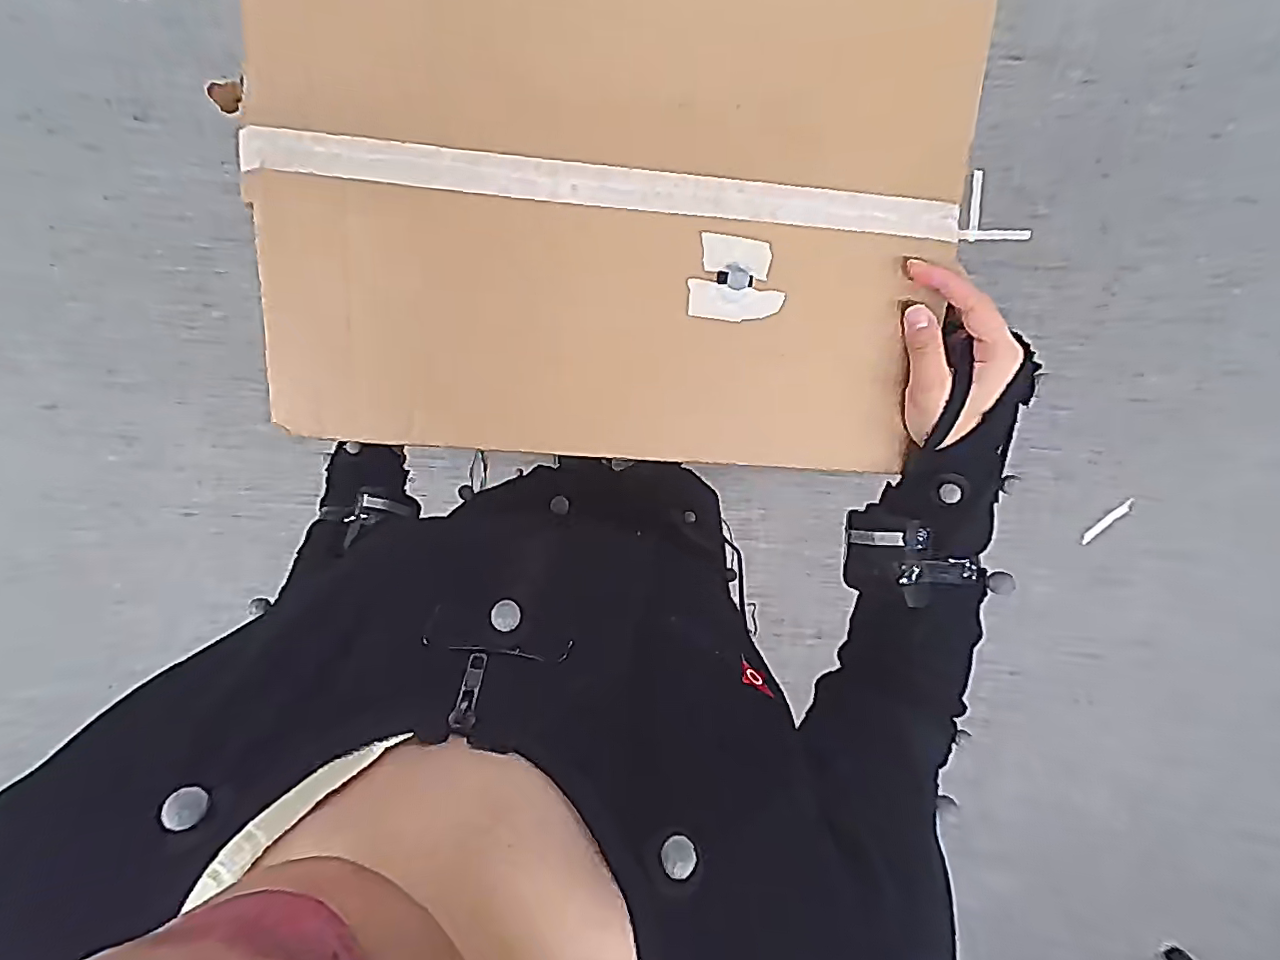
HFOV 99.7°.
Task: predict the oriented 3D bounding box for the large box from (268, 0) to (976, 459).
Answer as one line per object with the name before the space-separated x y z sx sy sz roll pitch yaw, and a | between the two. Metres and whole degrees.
large box | -0.021 -0.200 0.467 0.408 0.320 0.320 3 103 -7
